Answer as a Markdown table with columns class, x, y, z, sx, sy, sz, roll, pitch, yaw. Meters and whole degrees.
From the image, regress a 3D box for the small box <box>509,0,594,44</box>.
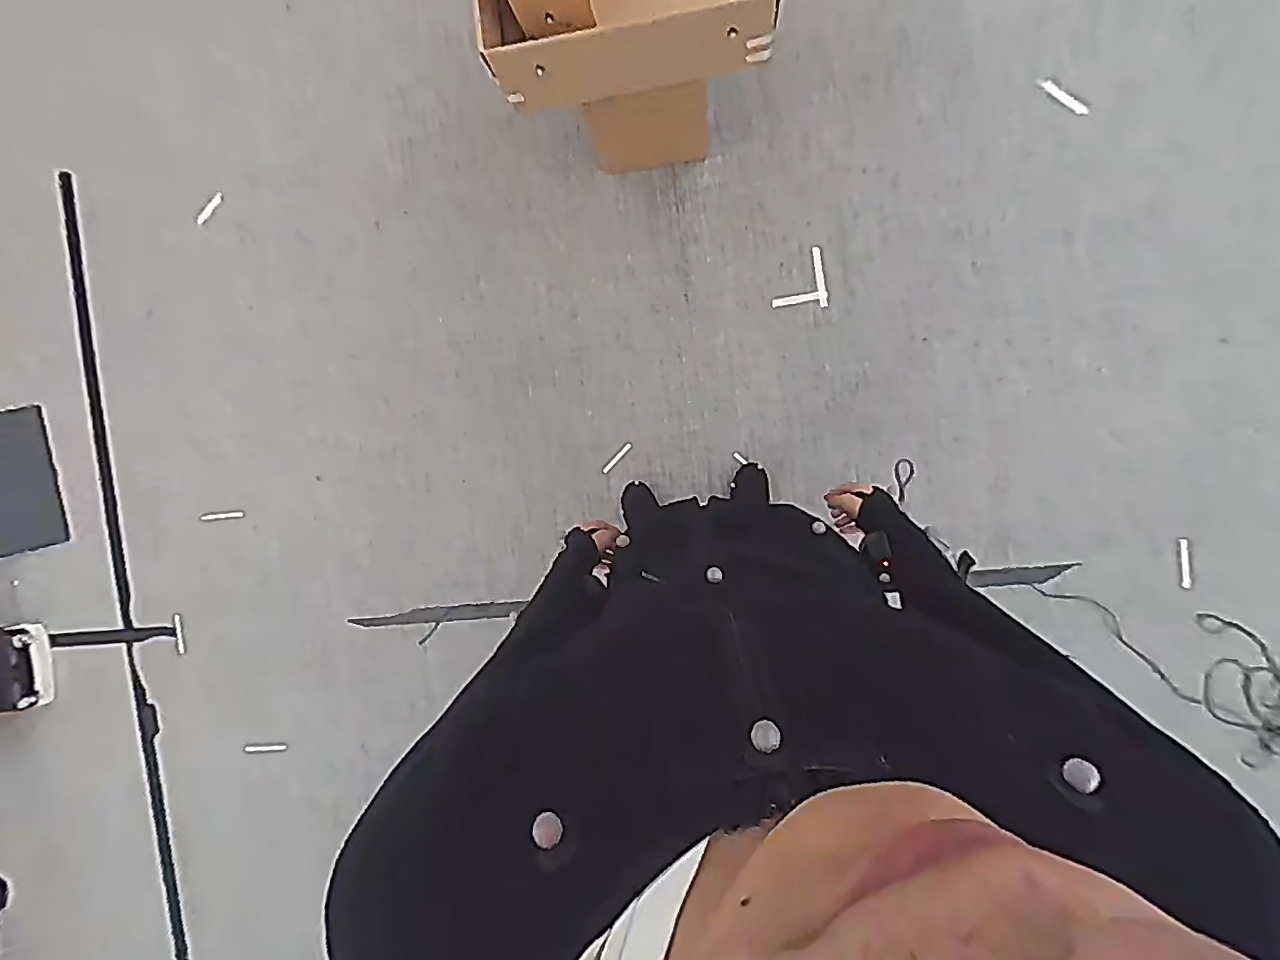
| class | x | y | z | sx | sy | sz | roll | pitch | yaw |
| --- | --- | --- | --- | --- | --- | --- | --- | --- | --- |
| small box | -0.201 | -1.082 | 1.140 | 0.168 | 0.176 | 0.179 | -7 | 91 | 8 |
